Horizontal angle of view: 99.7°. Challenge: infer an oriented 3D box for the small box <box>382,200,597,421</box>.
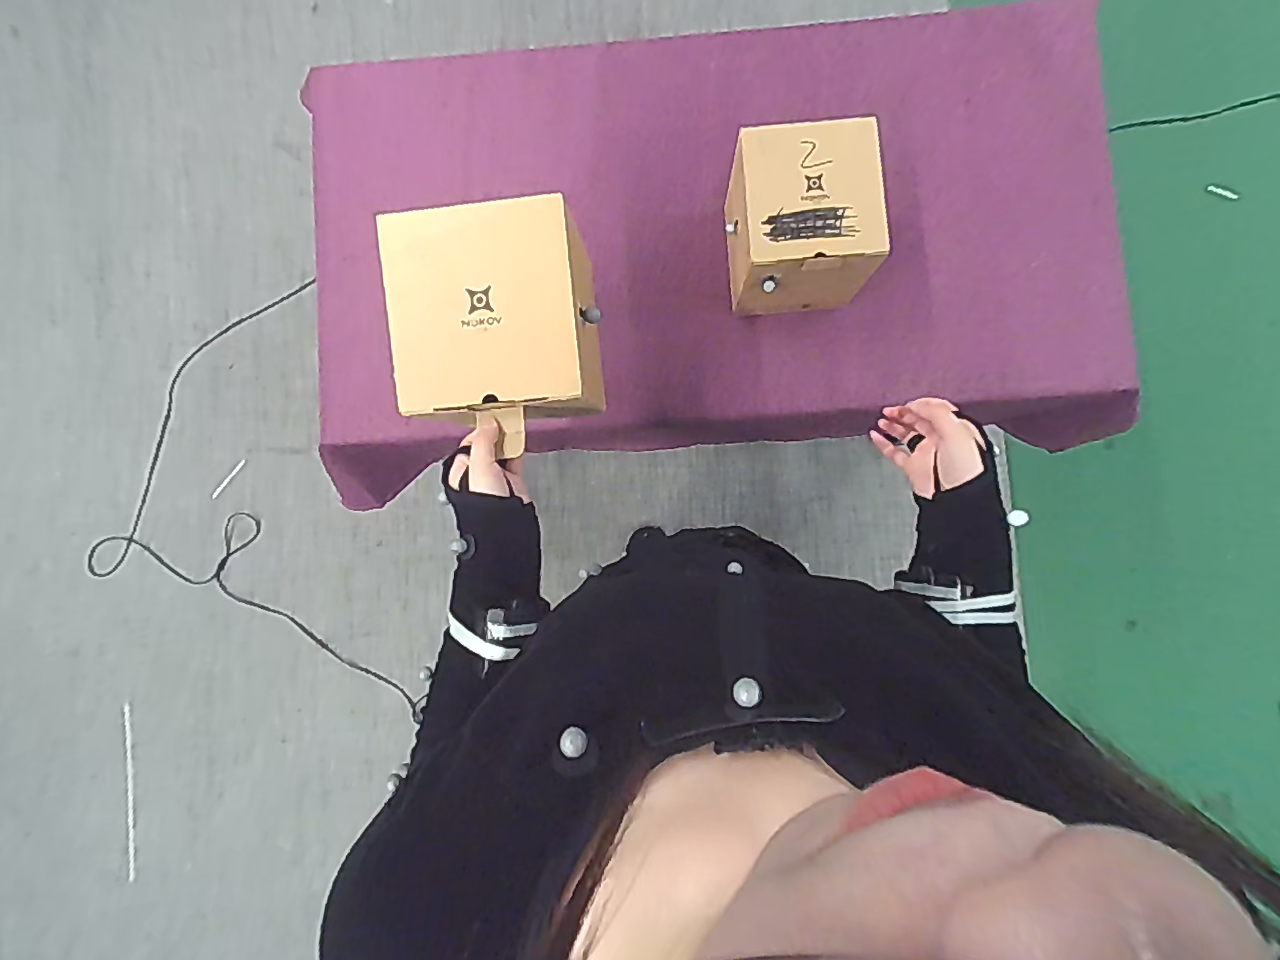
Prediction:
[{"bbox_3d":[-0.140,-0.160,0.563,0.168,0.176,0.179,-5,93,2],"label":"small box"}]
